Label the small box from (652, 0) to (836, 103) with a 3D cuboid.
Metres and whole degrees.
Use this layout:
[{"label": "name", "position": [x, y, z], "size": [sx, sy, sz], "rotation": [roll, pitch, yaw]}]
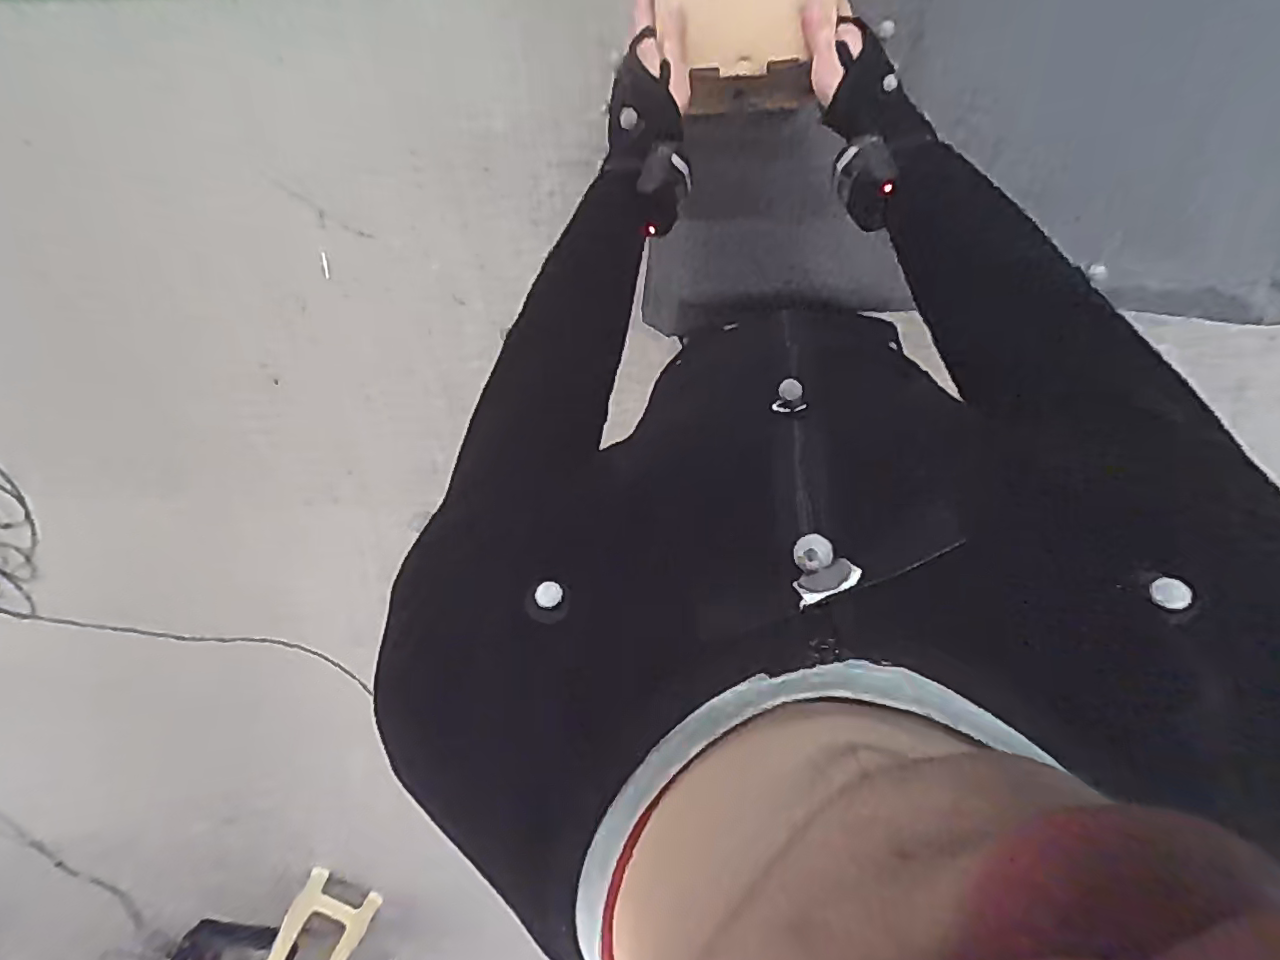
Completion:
[{"label": "small box", "position": [0.098, -0.495, 0.538], "size": [0.168, 0.176, 0.179], "rotation": [-1, 114, 5]}]
